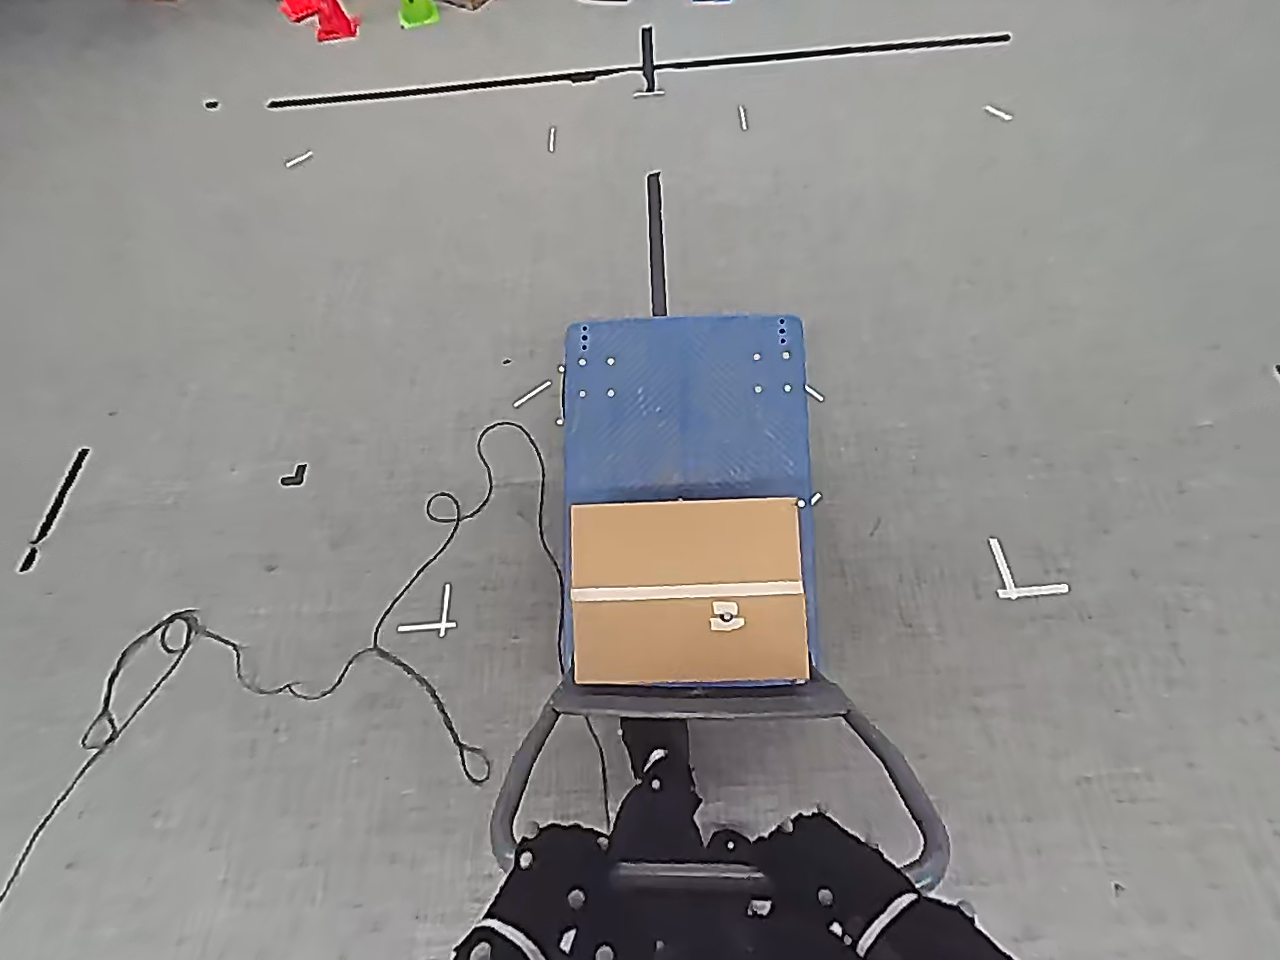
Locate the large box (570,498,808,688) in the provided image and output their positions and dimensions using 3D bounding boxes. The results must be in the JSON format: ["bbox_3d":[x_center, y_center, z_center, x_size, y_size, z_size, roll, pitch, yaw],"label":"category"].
[{"bbox_3d":[0.085,0.212,1.089,0.408,0.320,0.320,-3,84,2],"label":"large box"}]
